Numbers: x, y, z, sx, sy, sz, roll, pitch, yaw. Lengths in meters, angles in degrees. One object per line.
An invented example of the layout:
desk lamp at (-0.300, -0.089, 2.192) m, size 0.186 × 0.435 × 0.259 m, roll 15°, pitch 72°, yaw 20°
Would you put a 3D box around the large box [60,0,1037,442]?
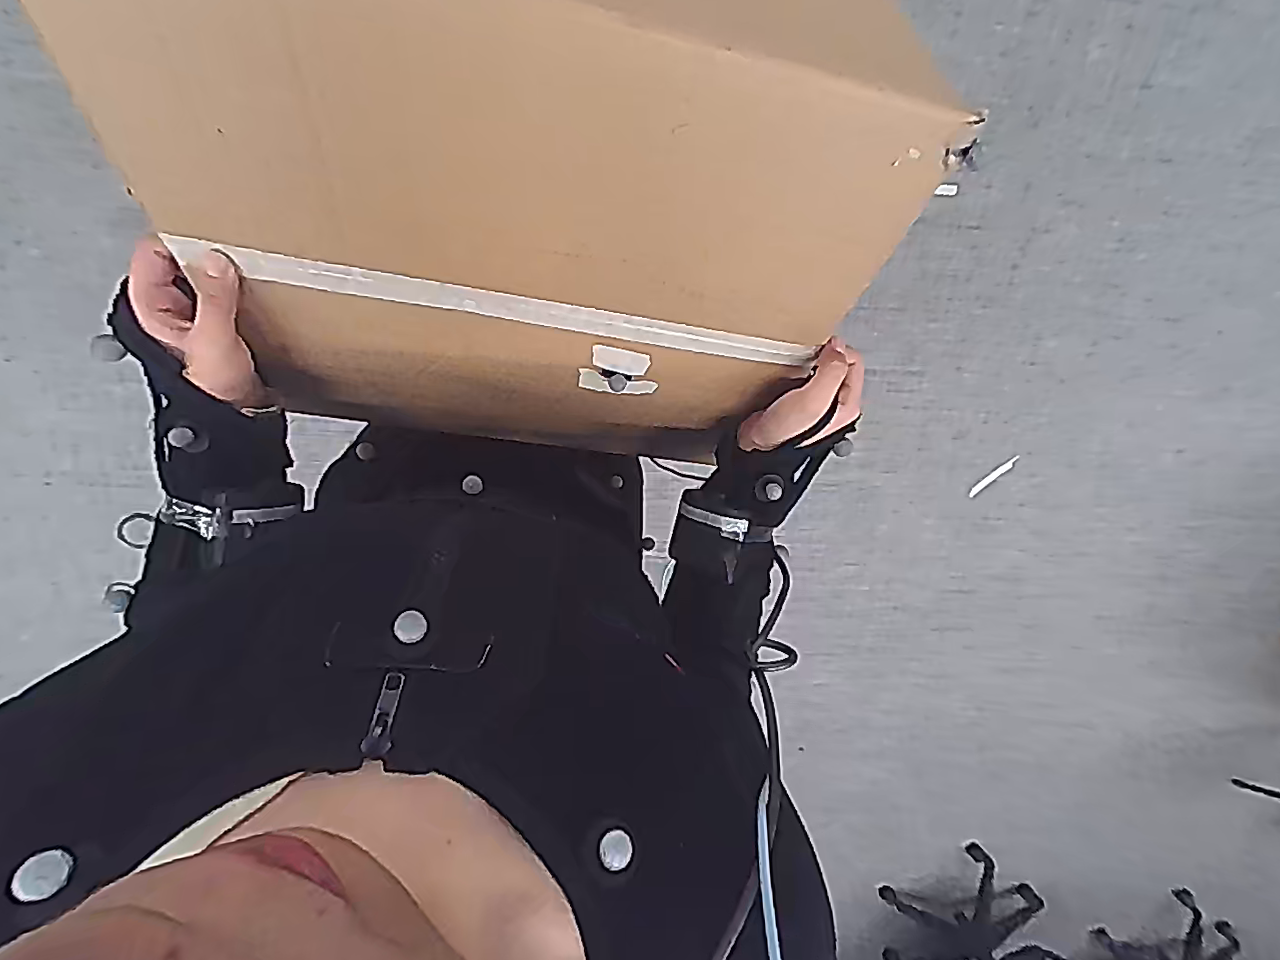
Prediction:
large box at (-0.057, -0.256, 0.396) m, size 0.408 × 0.320 × 0.320 m, roll 6°, pitch 150°, yaw -11°
